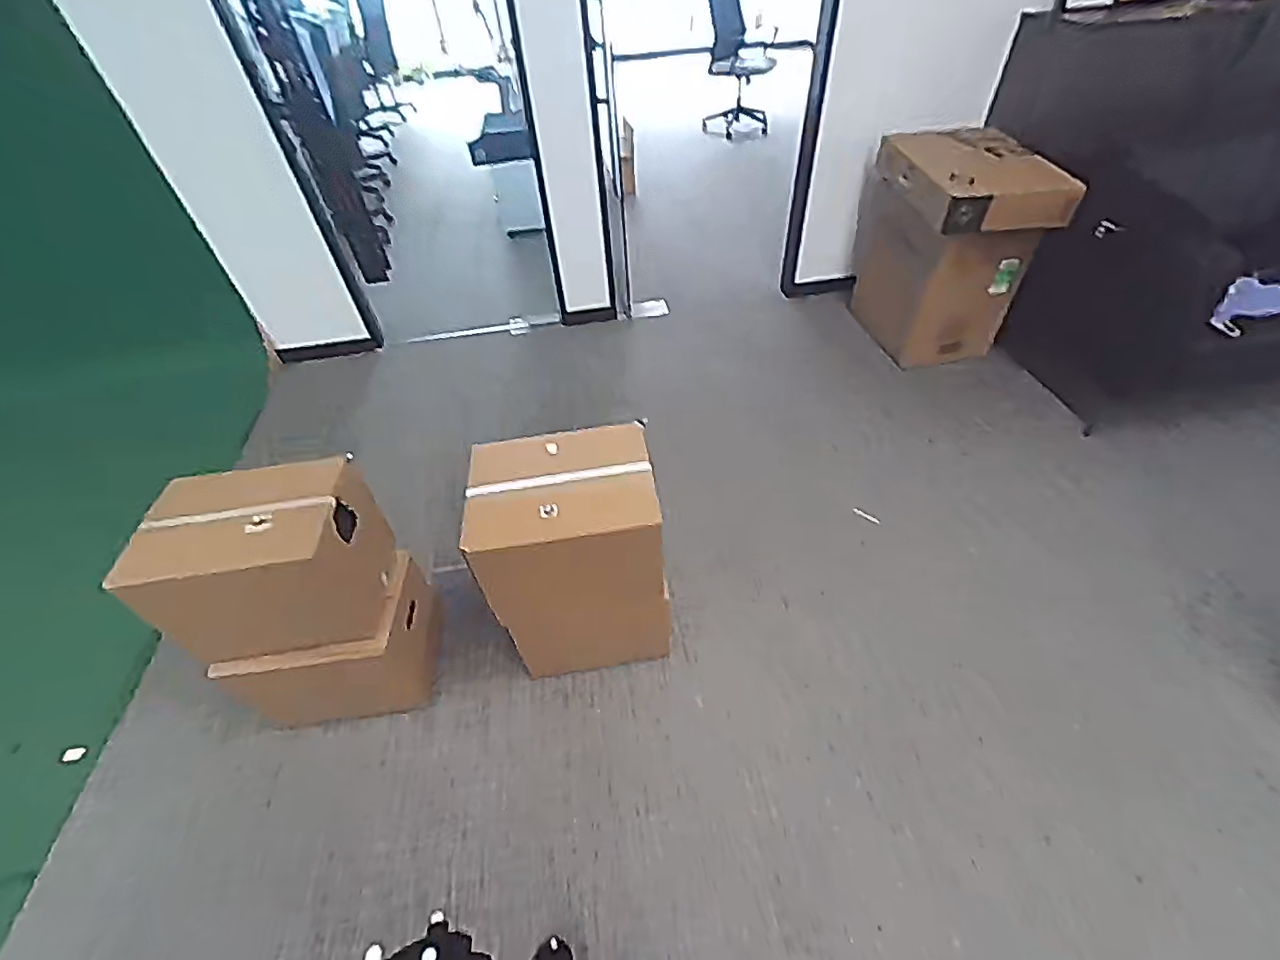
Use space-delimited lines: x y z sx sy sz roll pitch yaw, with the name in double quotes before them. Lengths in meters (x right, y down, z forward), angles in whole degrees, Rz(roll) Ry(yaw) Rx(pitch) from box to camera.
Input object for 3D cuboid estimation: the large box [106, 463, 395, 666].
"large box" -0.854 0.196 1.266 0.408 0.320 0.320 -7 42 -4
